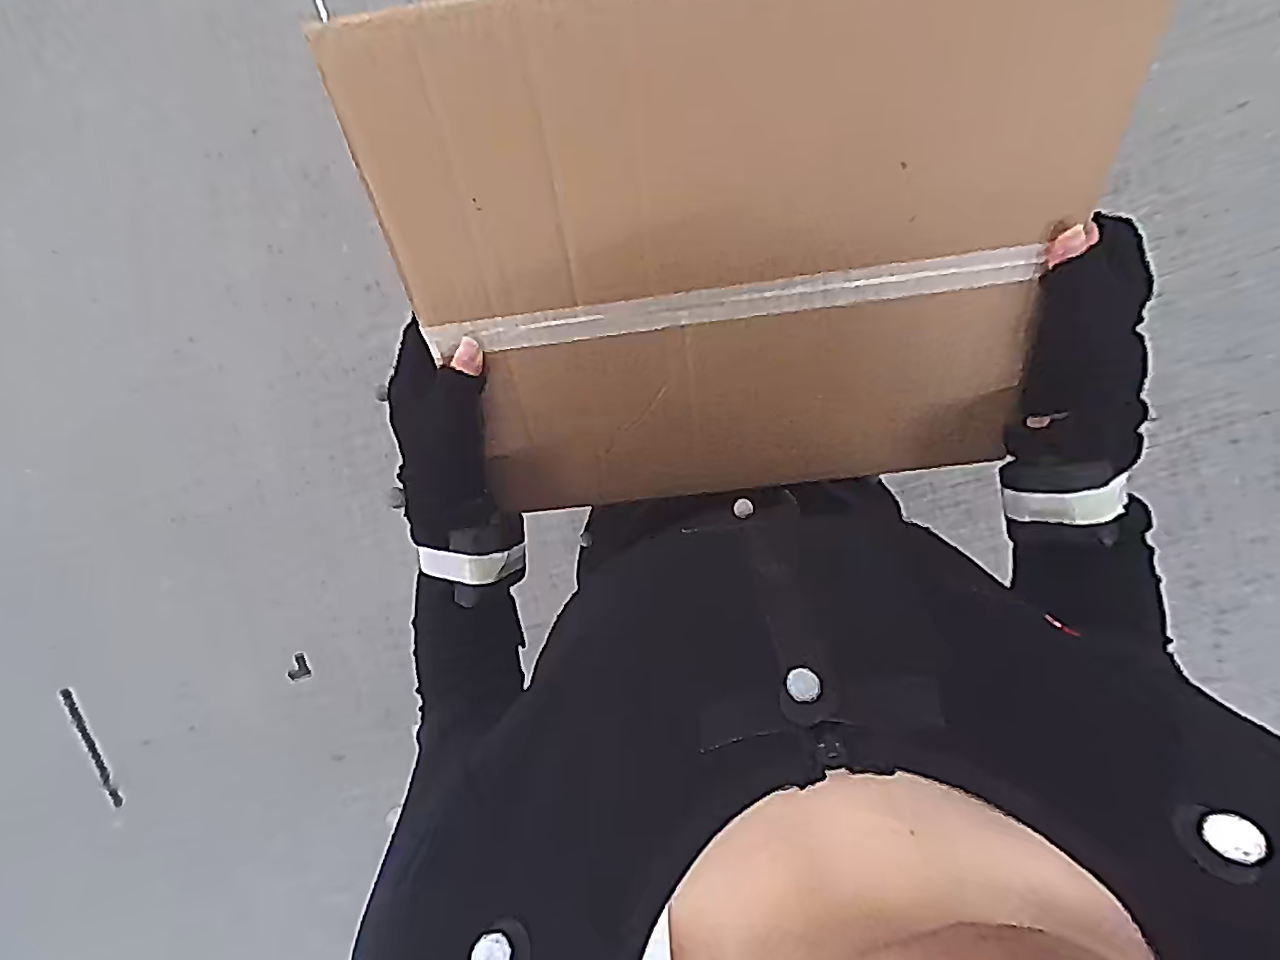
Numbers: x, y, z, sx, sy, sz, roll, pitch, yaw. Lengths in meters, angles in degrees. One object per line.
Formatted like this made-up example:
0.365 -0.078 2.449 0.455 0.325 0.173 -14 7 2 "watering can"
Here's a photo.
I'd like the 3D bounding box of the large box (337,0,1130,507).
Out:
0.056 -0.213 0.468 0.408 0.320 0.320 -7 129 3 "large box"
